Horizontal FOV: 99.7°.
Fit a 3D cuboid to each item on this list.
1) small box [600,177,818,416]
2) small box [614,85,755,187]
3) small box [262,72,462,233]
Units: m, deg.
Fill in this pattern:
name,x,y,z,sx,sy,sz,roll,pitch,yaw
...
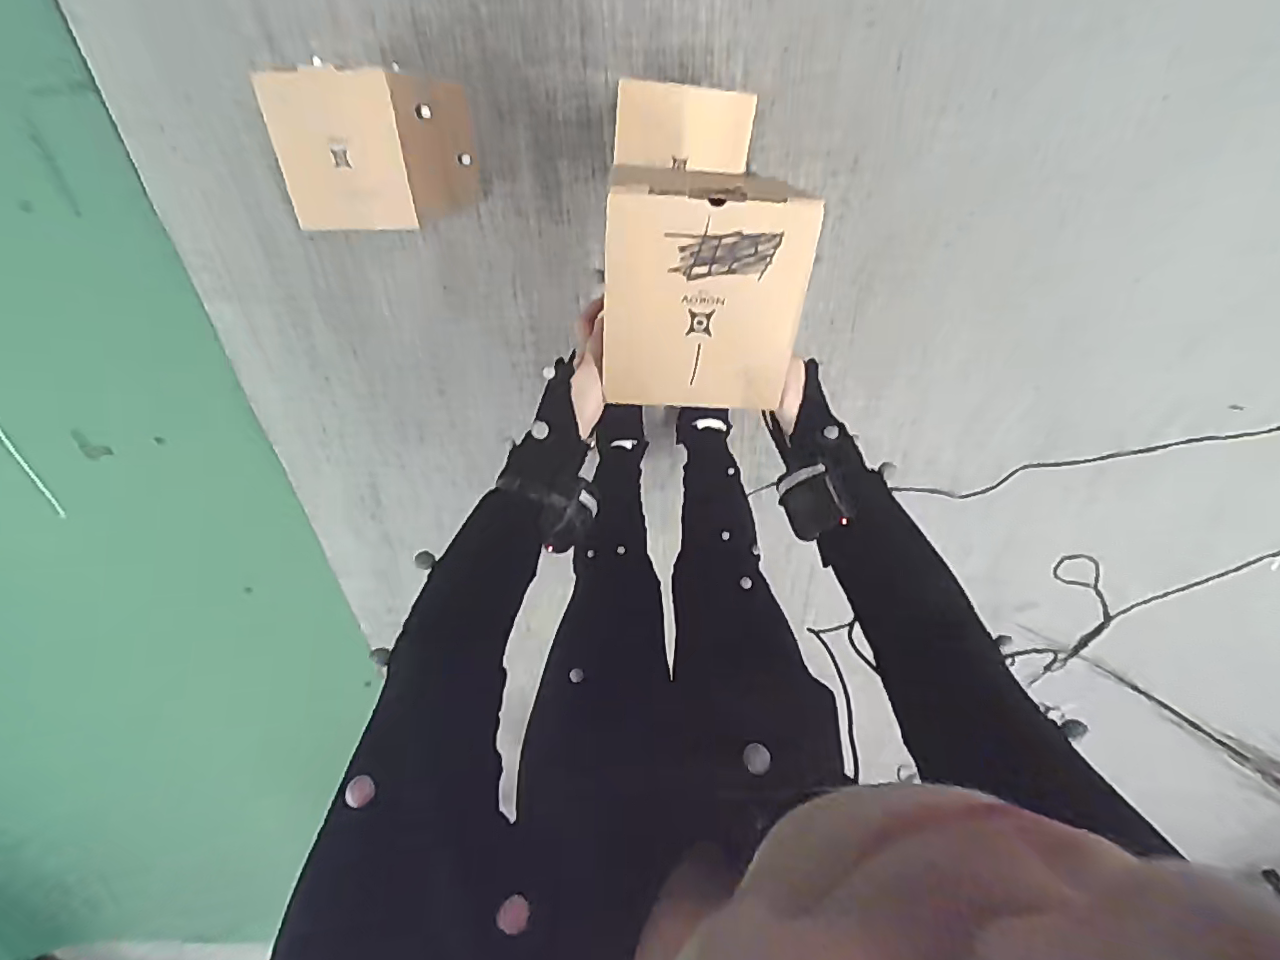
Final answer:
name,x,y,z,sx,sy,sz,roll,pitch,yaw
small box,0.048,-0.180,0.520,0.168,0.176,0.179,3,127,-3
small box,0.051,-0.431,0.753,0.168,0.176,0.179,6,125,-1
small box,-0.368,-0.454,0.755,0.168,0.176,0.179,1,125,4
